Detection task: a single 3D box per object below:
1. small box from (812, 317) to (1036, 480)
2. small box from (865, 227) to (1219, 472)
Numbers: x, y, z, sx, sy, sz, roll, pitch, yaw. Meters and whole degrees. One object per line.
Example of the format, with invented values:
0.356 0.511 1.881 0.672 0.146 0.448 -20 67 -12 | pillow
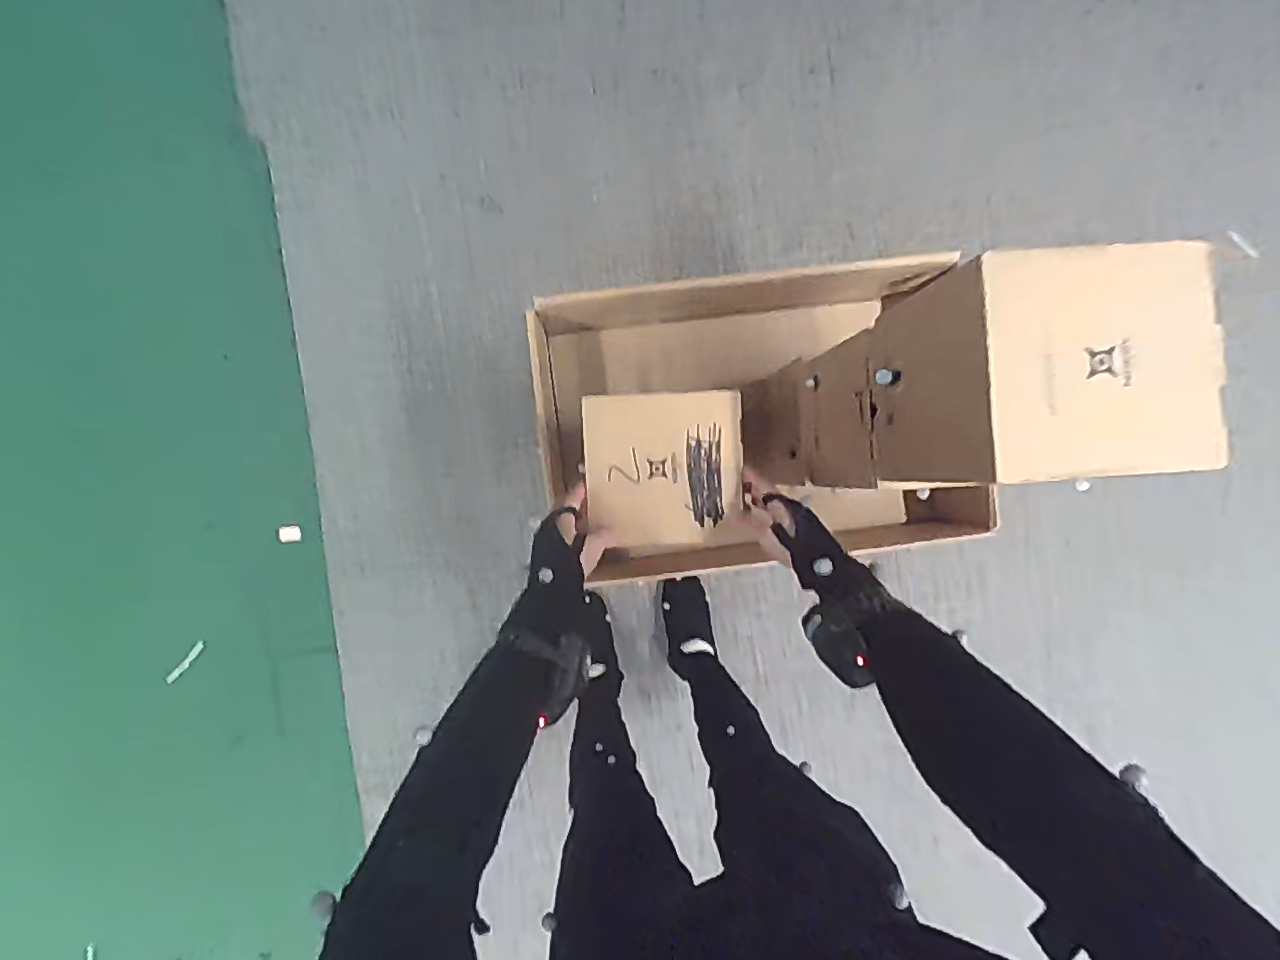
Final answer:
0.308 -0.085 0.623 0.179 0.176 0.168 -3 91 -3 | small box
0.318 -0.094 0.461 0.179 0.176 0.168 -4 89 -2 | small box
